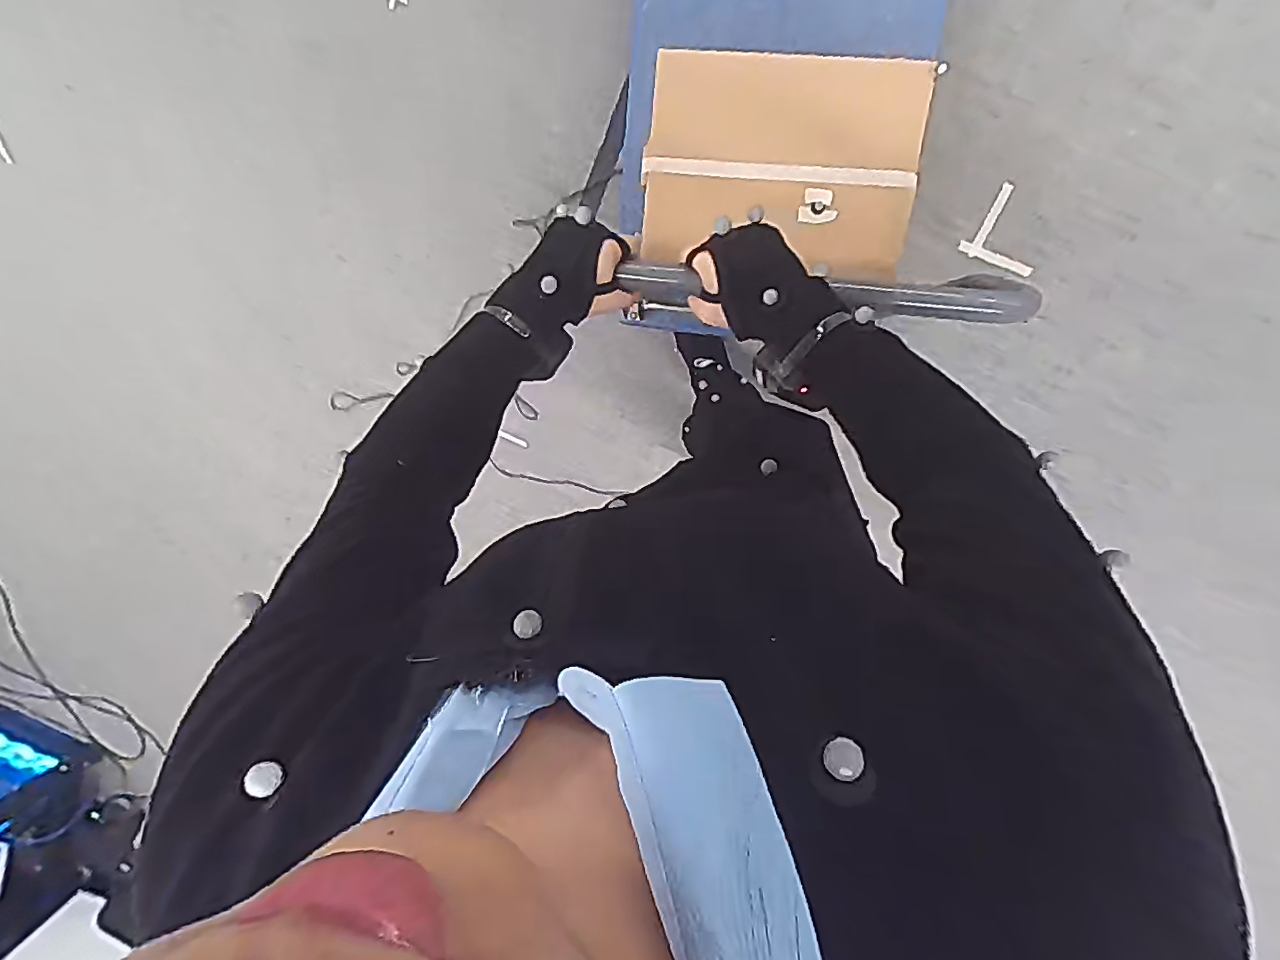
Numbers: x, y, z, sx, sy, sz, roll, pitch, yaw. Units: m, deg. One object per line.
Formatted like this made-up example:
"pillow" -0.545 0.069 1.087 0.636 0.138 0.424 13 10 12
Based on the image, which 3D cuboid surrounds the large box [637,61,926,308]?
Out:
"large box" 0.217 -0.492 0.970 0.408 0.320 0.320 7 106 5
